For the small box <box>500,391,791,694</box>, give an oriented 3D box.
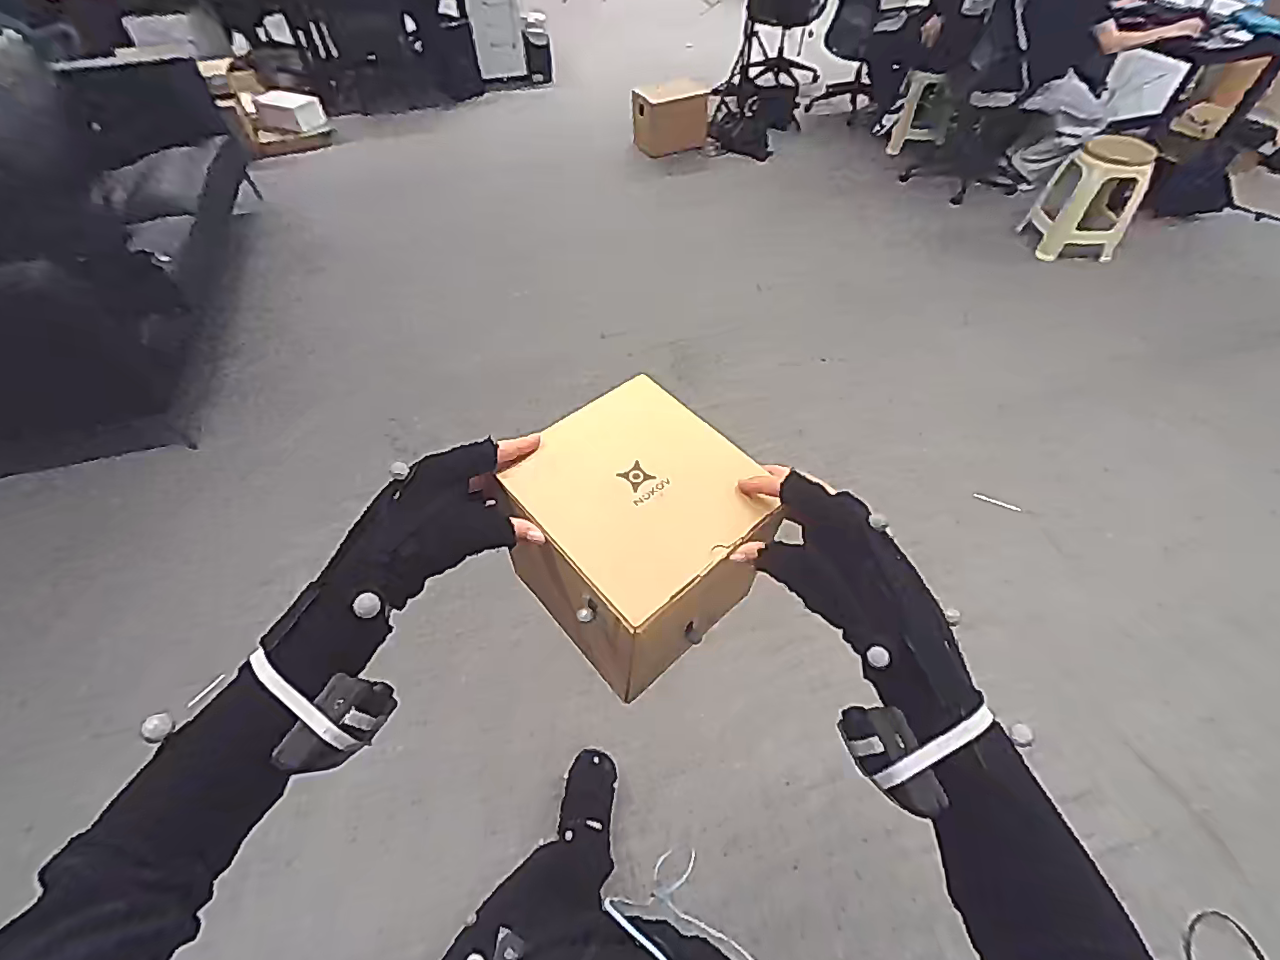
[{"bbox_3d":[-0.002,0.058,0.488,0.168,0.176,0.179,-34,62,-26],"label":"small box"}]
